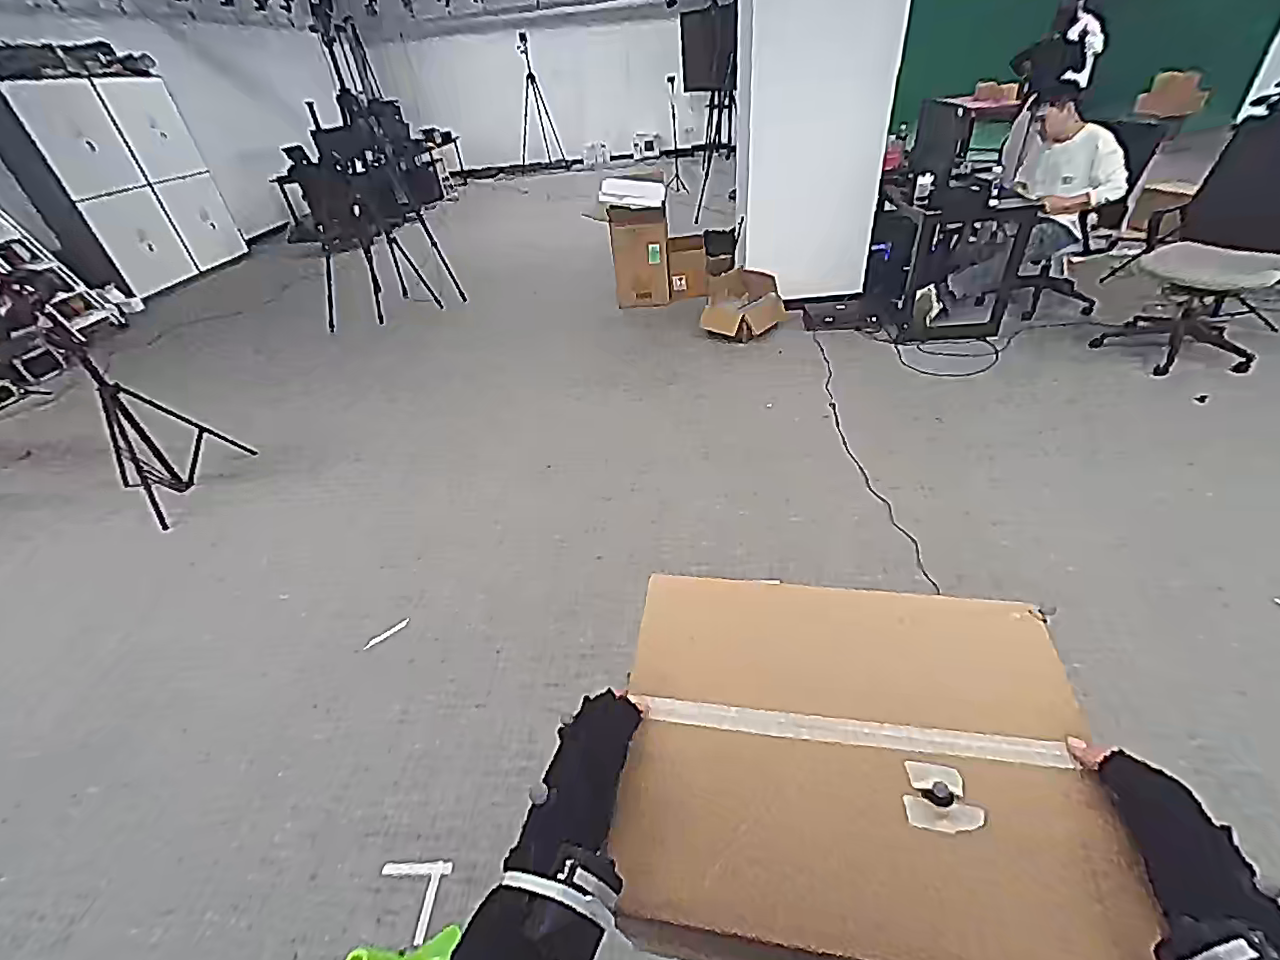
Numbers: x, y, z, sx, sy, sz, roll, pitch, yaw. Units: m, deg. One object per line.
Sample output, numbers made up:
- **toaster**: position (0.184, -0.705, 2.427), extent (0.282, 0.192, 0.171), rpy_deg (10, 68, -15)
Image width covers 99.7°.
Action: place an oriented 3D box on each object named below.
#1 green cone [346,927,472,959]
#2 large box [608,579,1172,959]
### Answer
- **green cone**: position (-0.456, 0.948, 1.008), extent (0.202, 0.368, 0.200), rpy_deg (-28, 41, -22)
- **large box**: position (0.200, 0.335, 0.600), extent (0.408, 0.320, 0.320), rpy_deg (3, 45, 10)
